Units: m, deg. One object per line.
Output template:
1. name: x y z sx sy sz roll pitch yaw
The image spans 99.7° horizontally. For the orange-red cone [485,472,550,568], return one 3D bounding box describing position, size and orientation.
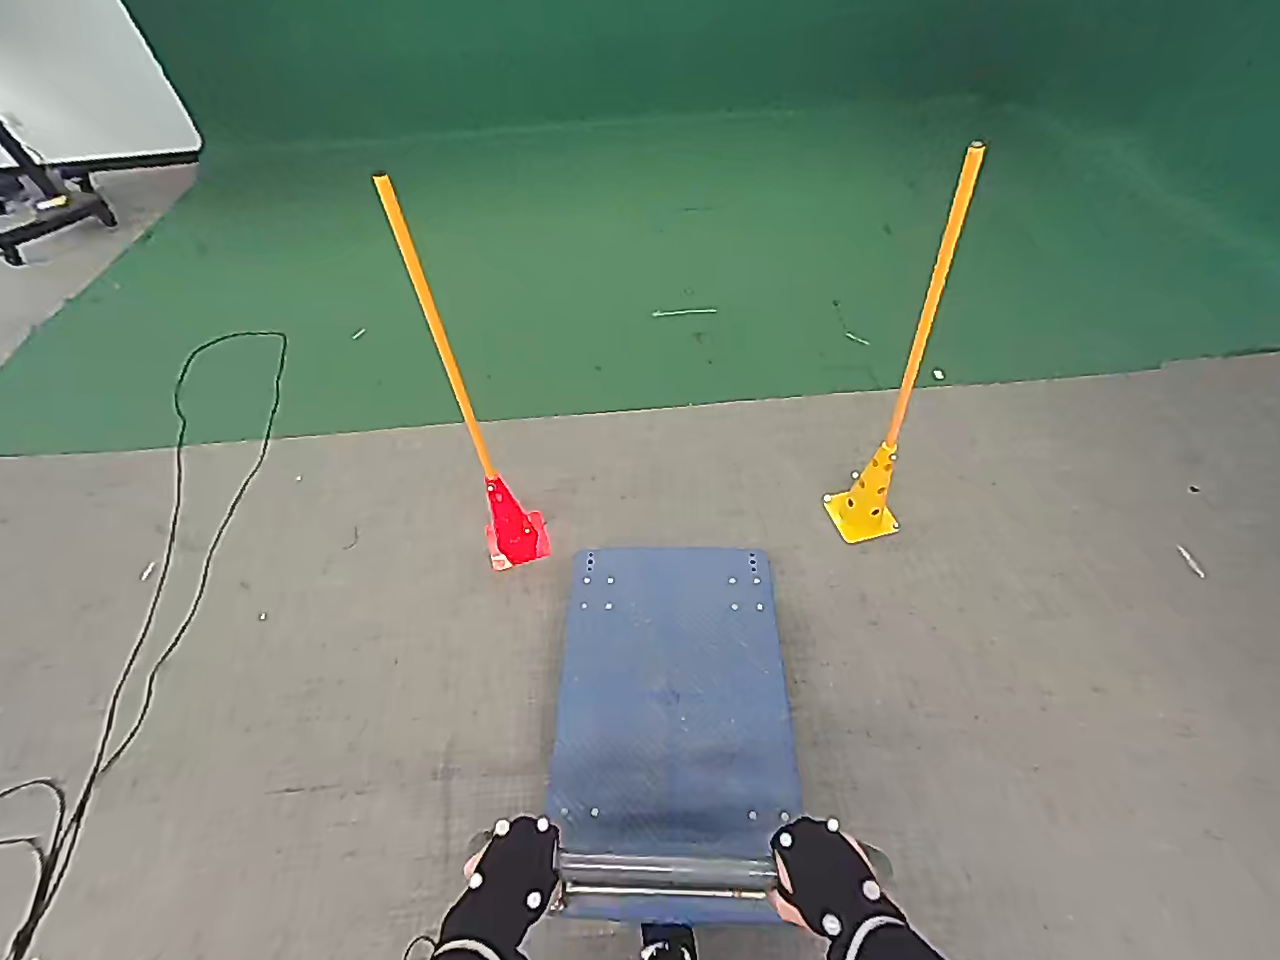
1. orange-red cone: -0.431 0.099 1.737 0.199 0.360 0.198 -17 52 -8
